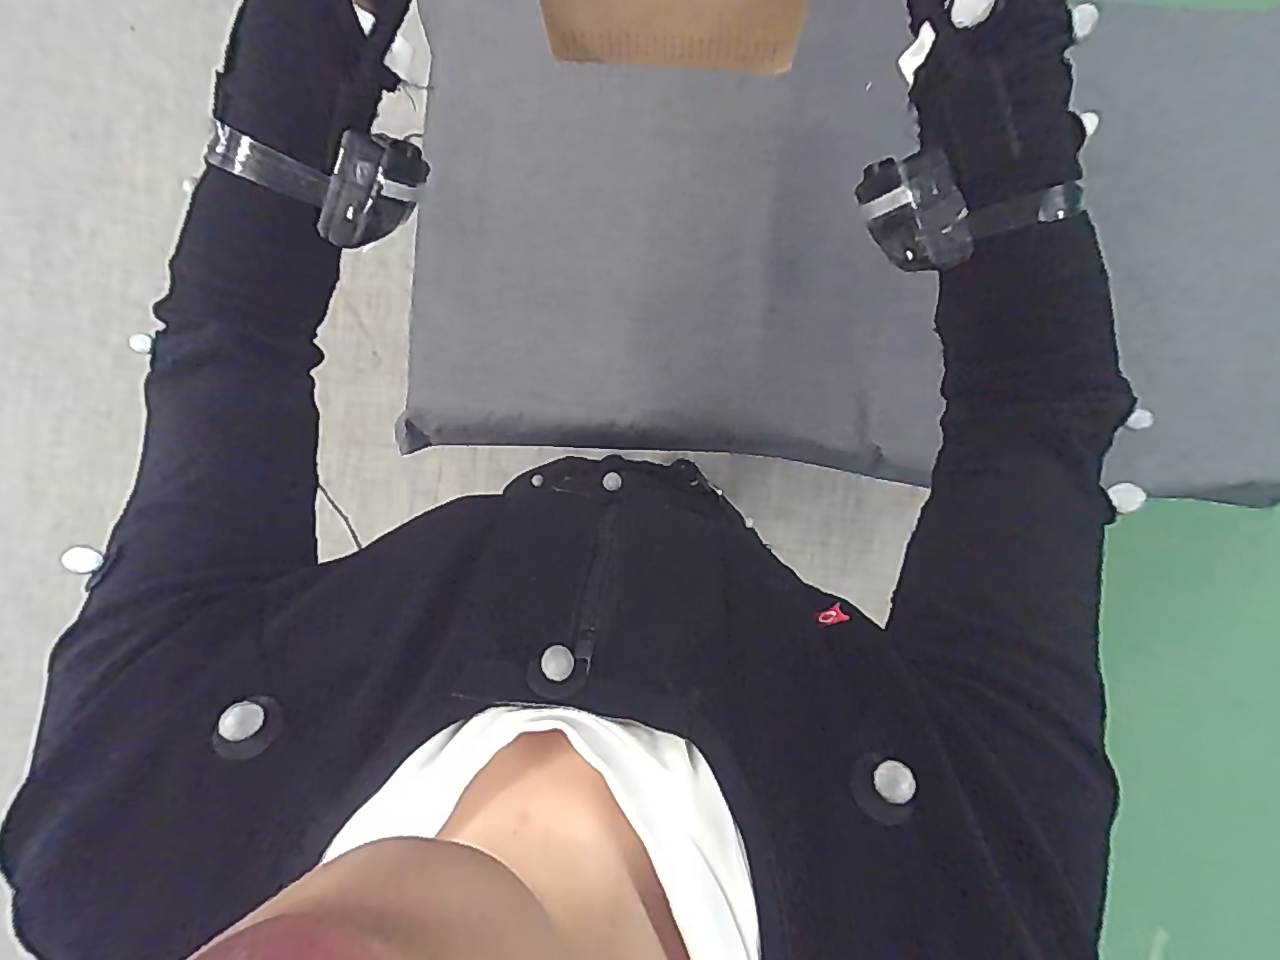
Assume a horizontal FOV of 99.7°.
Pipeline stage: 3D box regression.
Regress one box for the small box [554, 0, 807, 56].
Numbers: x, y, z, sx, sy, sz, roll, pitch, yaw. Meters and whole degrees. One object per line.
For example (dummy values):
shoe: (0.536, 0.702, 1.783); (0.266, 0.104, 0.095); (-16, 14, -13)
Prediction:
small box: (0.029, -0.388, 0.311); (0.179, 0.176, 0.168); (5, 89, 3)
